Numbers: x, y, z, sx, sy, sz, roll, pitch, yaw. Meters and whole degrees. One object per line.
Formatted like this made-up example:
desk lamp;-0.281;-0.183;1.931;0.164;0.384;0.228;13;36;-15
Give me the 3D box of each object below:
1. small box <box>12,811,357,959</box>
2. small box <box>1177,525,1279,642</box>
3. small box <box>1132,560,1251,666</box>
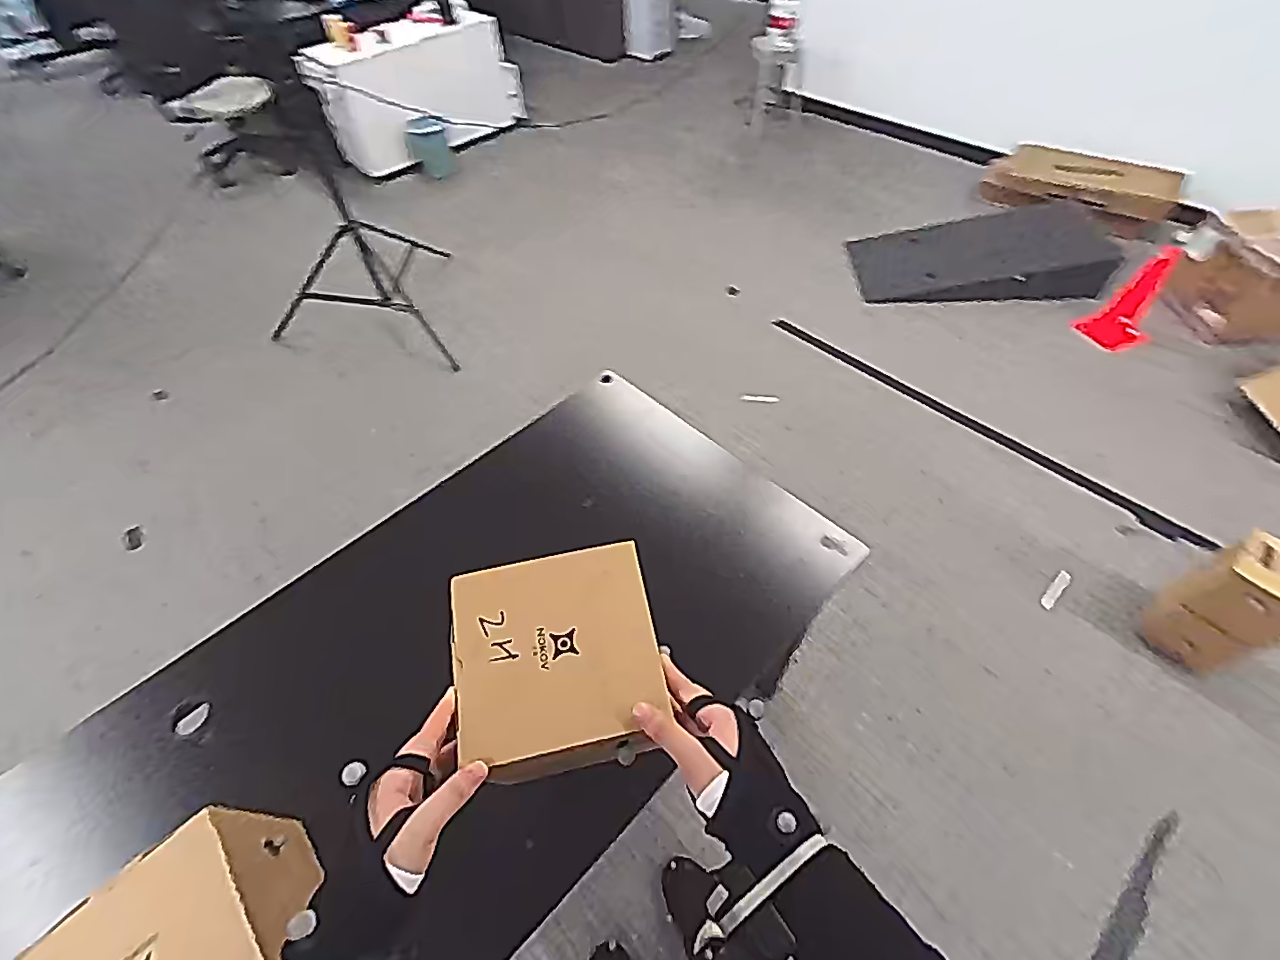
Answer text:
small box;-0.409;0.456;0.507;0.168;0.176;0.179;-39;60;-23
small box;1.429;0.245;1.260;0.168;0.176;0.179;-37;60;-22
small box;1.430;0.347;1.391;0.179;0.176;0.168;-37;59;-21
